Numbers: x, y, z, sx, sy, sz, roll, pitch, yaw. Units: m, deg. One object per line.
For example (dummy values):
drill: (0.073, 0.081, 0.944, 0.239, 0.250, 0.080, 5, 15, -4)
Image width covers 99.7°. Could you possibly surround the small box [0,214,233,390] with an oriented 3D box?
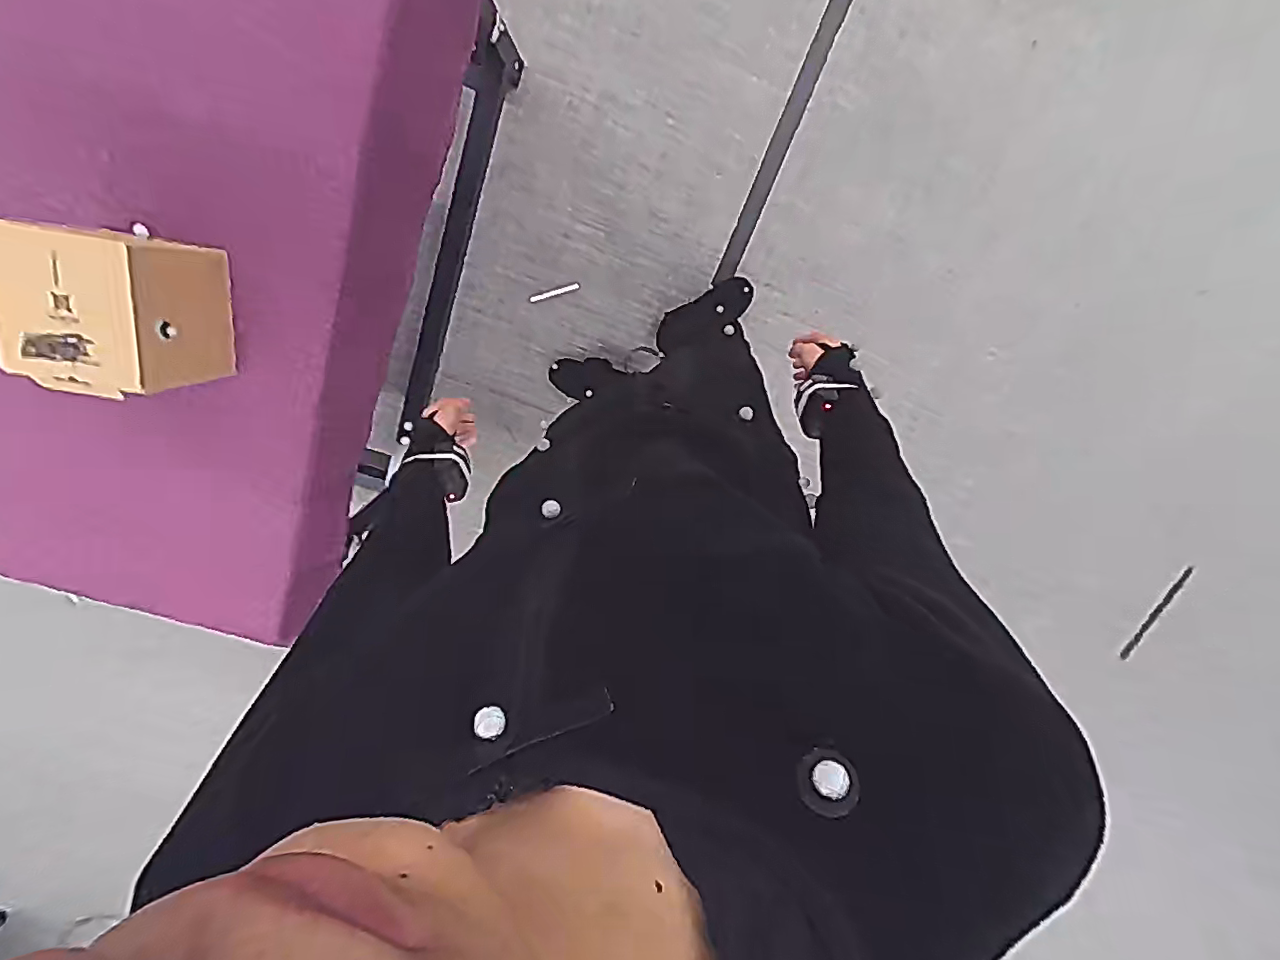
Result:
small box: (-0.670, -0.230, 0.703, 0.168, 0.176, 0.179, 9, 109, -4)
